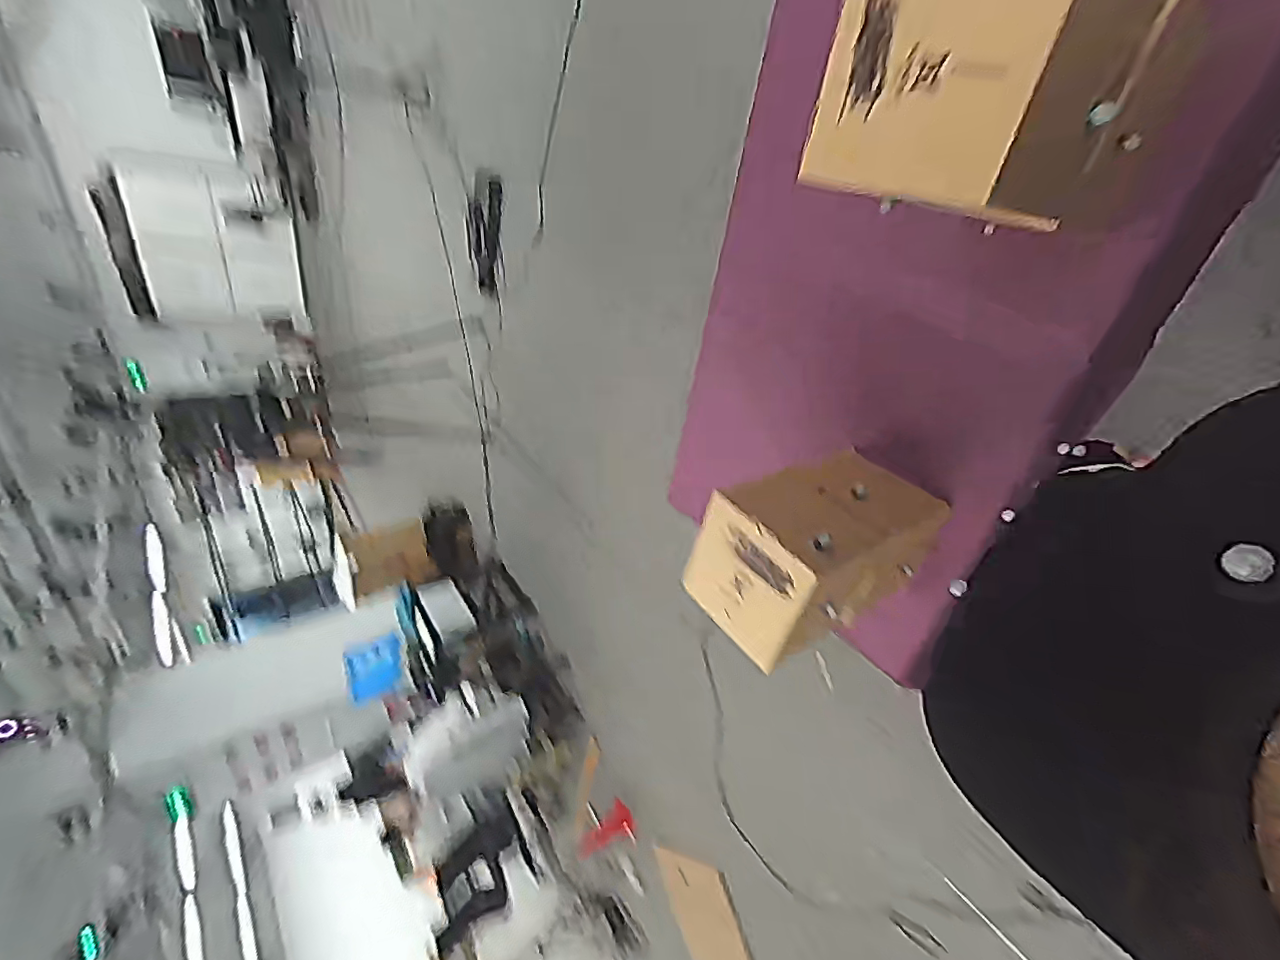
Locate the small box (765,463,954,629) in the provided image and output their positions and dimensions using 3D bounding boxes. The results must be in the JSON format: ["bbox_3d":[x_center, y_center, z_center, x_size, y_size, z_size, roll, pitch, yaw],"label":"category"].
[{"bbox_3d":[0.328,0.086,0.820,0.179,0.176,0.168,38,130,38],"label":"small box"}]

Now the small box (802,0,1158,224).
[{"bbox_3d":[0.278,-0.322,0.460,0.179,0.176,0.168,36,130,39],"label":"small box"}]
